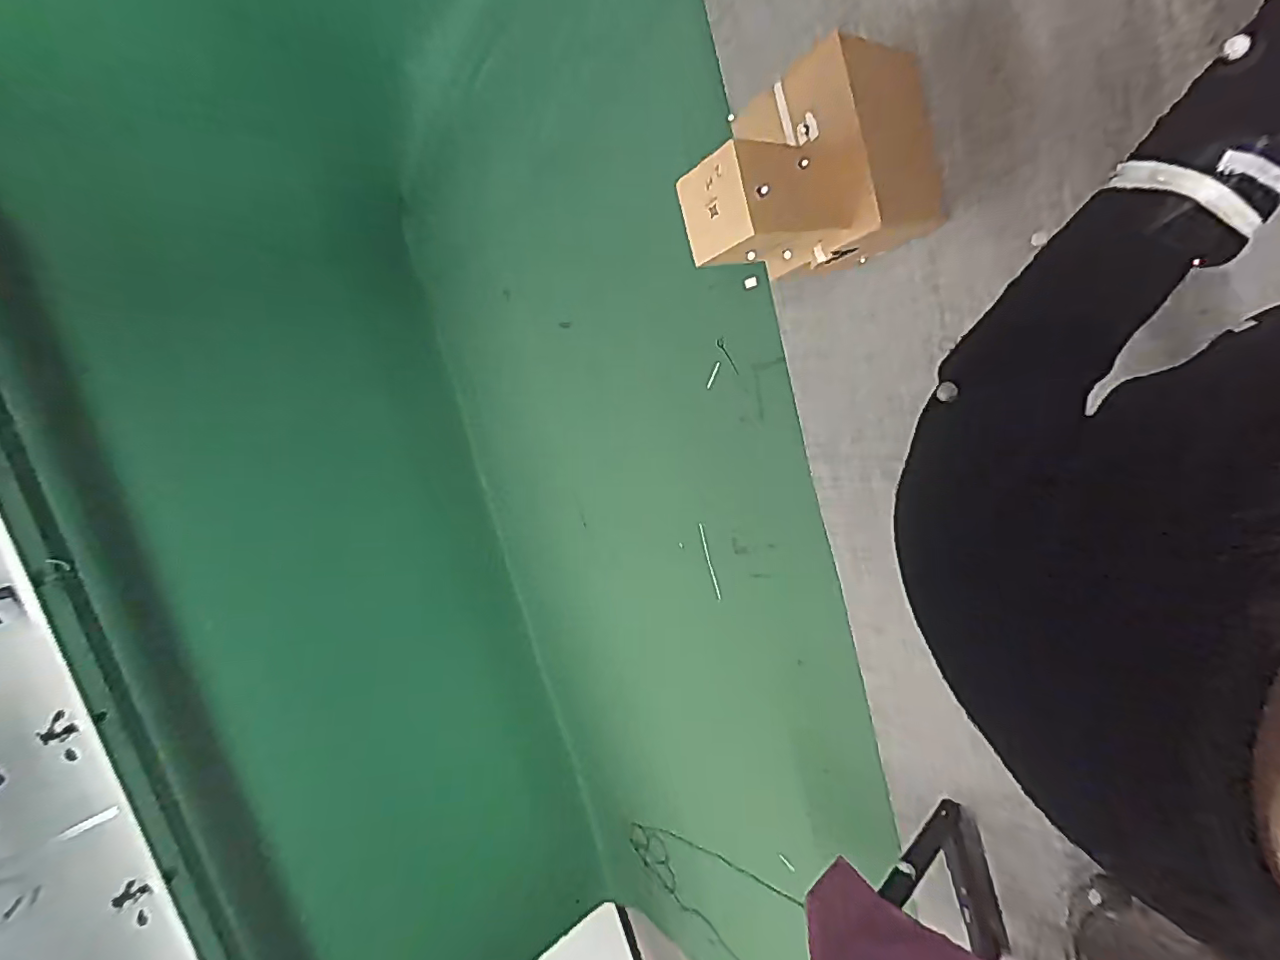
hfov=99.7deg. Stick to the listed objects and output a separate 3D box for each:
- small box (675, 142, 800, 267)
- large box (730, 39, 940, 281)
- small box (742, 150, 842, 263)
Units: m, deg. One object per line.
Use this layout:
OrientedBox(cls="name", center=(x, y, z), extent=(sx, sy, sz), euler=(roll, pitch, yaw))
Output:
OrientedBox(cls="small box", center=(0.202, -0.552, 1.097), extent=(0.168, 0.176, 0.179), euler=(-4, 103, 53))
OrientedBox(cls="large box", center=(0.481, -0.752, 1.336), extent=(0.320, 0.320, 0.408), euler=(-7, 100, 54))
OrientedBox(cls="small box", center=(0.324, -0.600, 1.198), extent=(0.168, 0.176, 0.179), euler=(-3, 103, 54))
